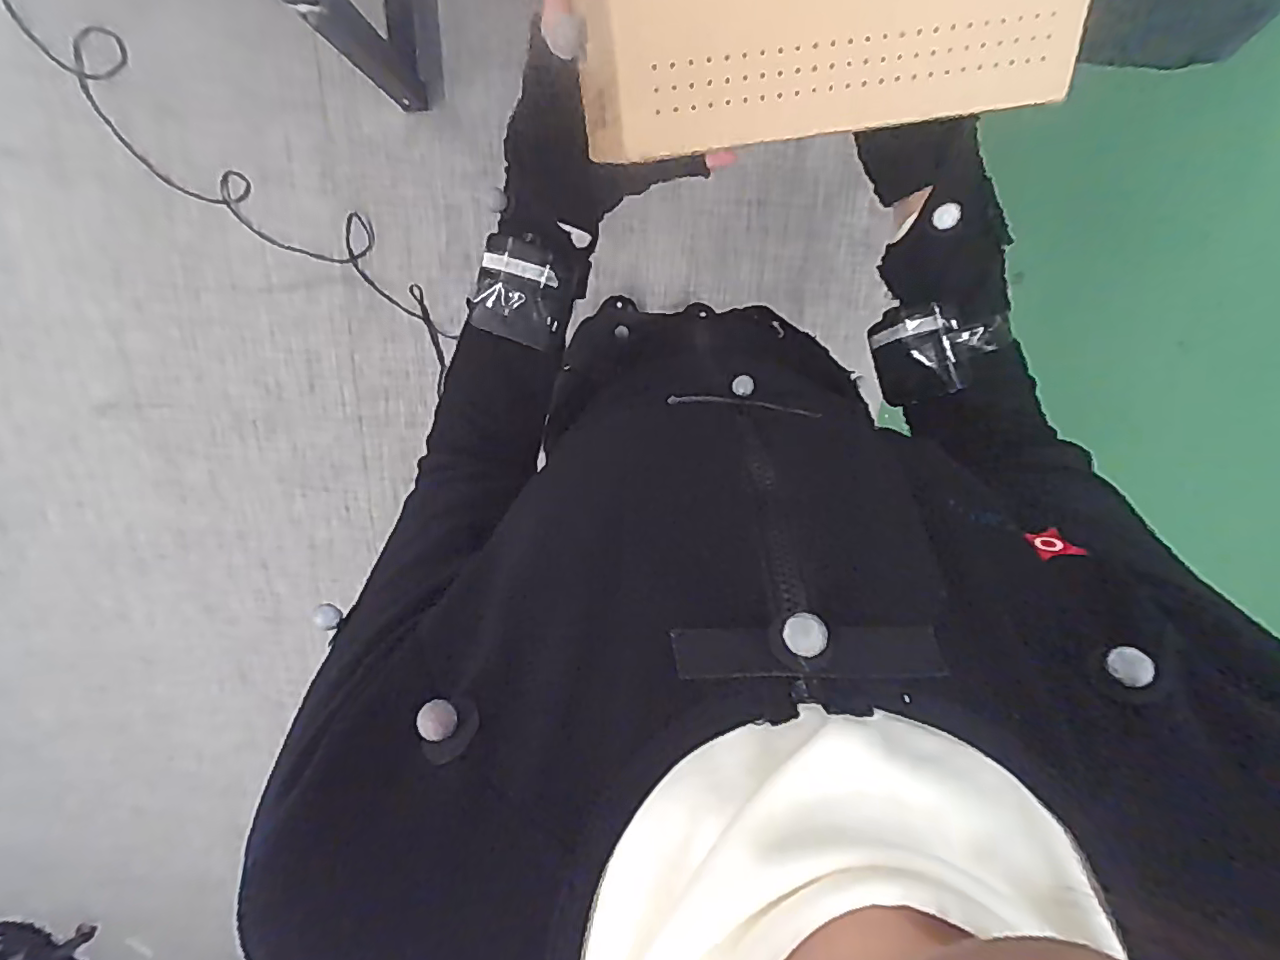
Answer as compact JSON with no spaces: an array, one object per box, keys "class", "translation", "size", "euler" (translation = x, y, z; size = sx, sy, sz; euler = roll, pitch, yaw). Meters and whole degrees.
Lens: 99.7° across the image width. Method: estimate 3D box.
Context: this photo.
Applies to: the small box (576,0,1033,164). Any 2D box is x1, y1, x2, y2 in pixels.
[{"class":"small box","translation":[0.058,-0.251,0.240],"size":[0.179,0.168,0.176],"euler":[-11,121,-3]}]
